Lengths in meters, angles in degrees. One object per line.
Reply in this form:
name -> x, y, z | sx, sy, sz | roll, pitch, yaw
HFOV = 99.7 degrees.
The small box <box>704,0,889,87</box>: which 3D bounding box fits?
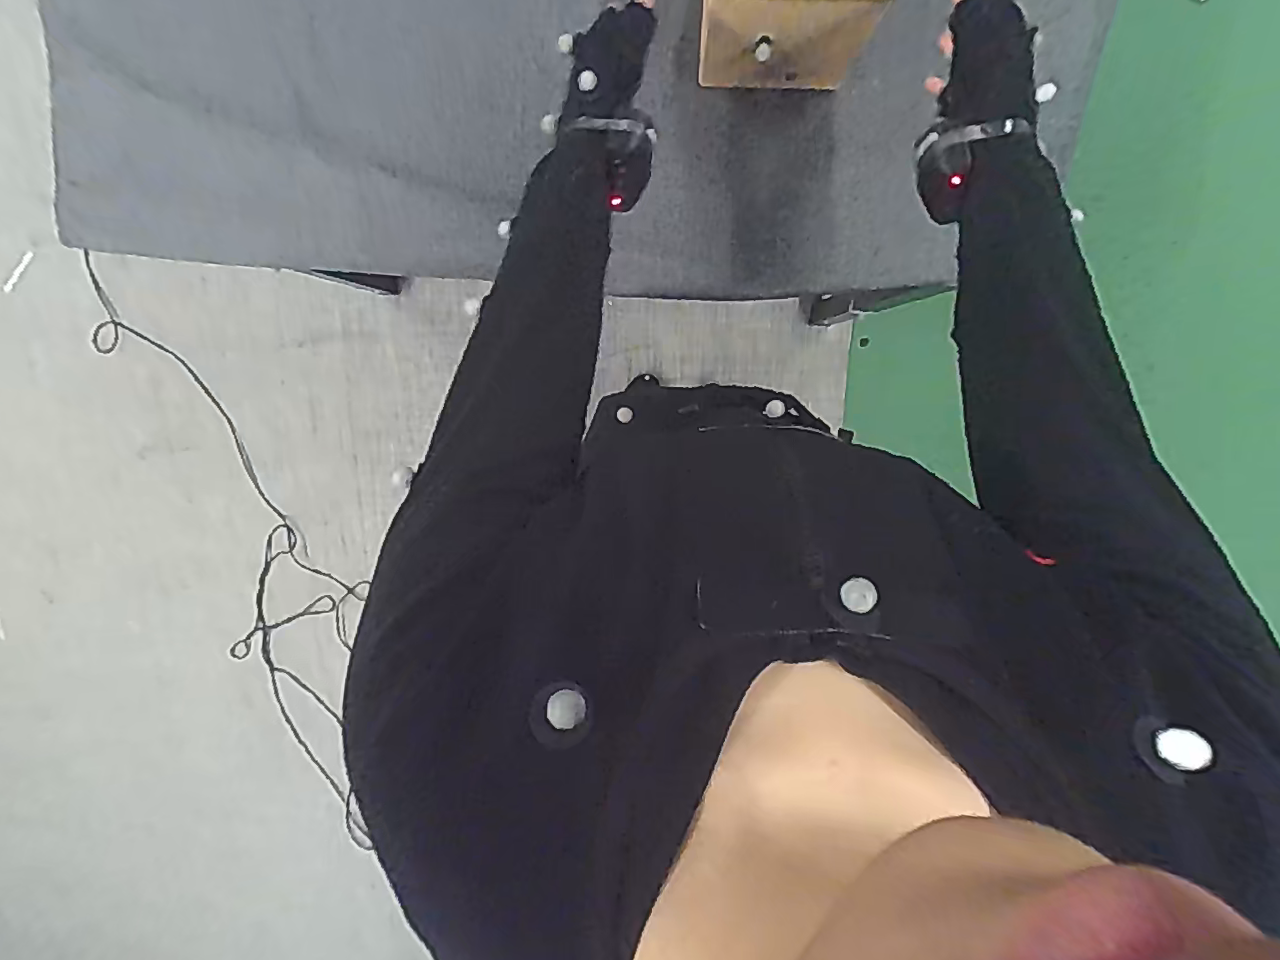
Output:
small box -> 0.154, -0.529, 0.541 | 0.168, 0.176, 0.179 | 3, 101, 3
